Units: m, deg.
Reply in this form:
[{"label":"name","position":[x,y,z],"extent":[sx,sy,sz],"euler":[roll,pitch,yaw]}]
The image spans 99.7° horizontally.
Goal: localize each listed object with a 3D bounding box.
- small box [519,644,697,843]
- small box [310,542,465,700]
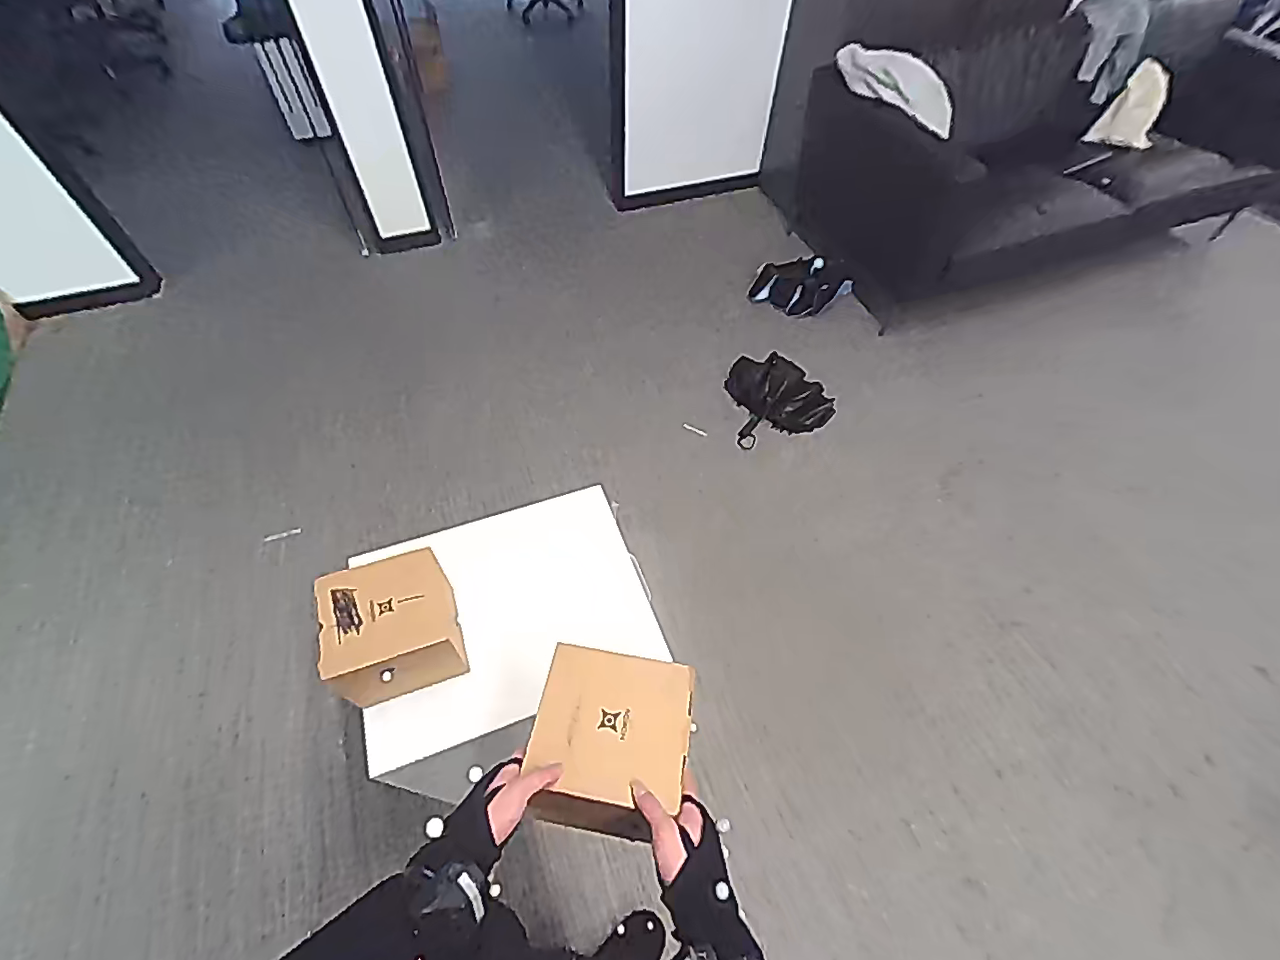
[{"label":"small box","position":[-0.033,0.327,0.665],"extent":[0.179,0.176,0.168],"euler":[8,46,4]},{"label":"small box","position":[-0.393,0.228,0.858],"extent":[0.179,0.176,0.168],"euler":[-15,58,-16]}]
